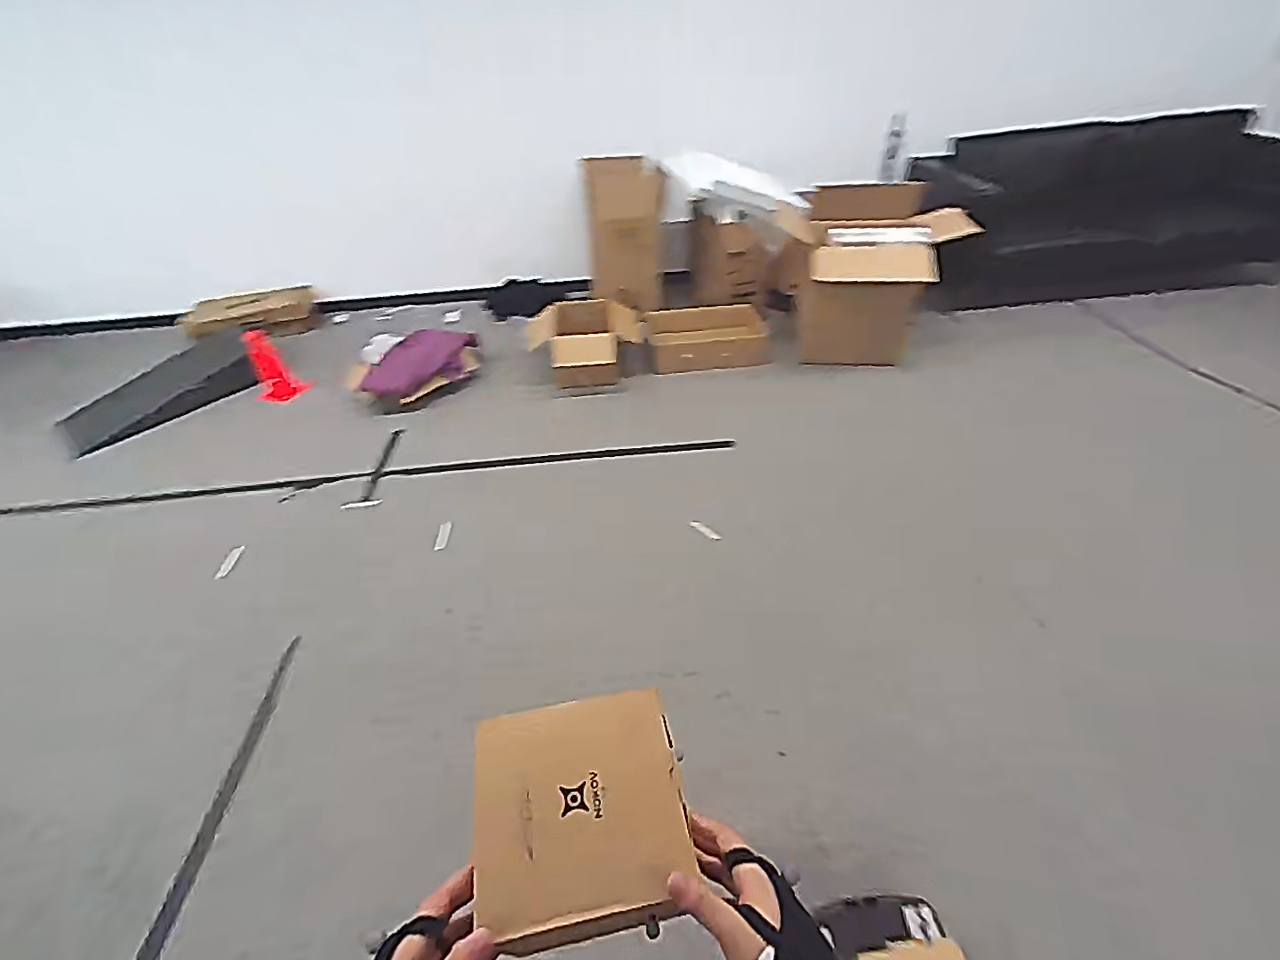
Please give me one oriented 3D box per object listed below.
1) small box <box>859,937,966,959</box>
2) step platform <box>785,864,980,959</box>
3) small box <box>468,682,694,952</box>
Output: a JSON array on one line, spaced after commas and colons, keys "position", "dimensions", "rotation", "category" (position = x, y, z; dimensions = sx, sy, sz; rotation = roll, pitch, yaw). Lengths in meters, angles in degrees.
[{"position": [0.446, 0.865, 0.864], "dimensions": [0.168, 0.176, 0.179], "rotation": [-7, 41, -4], "category": "small box"}, {"position": [0.425, 0.945, 0.719], "dimensions": [0.286, 0.204, 0.684], "rotation": [-6, 42, -3], "category": "step platform"}, {"position": [-0.056, 0.323, 0.521], "dimensions": [0.179, 0.176, 0.168], "rotation": [-12, 46, -7], "category": "small box"}]
